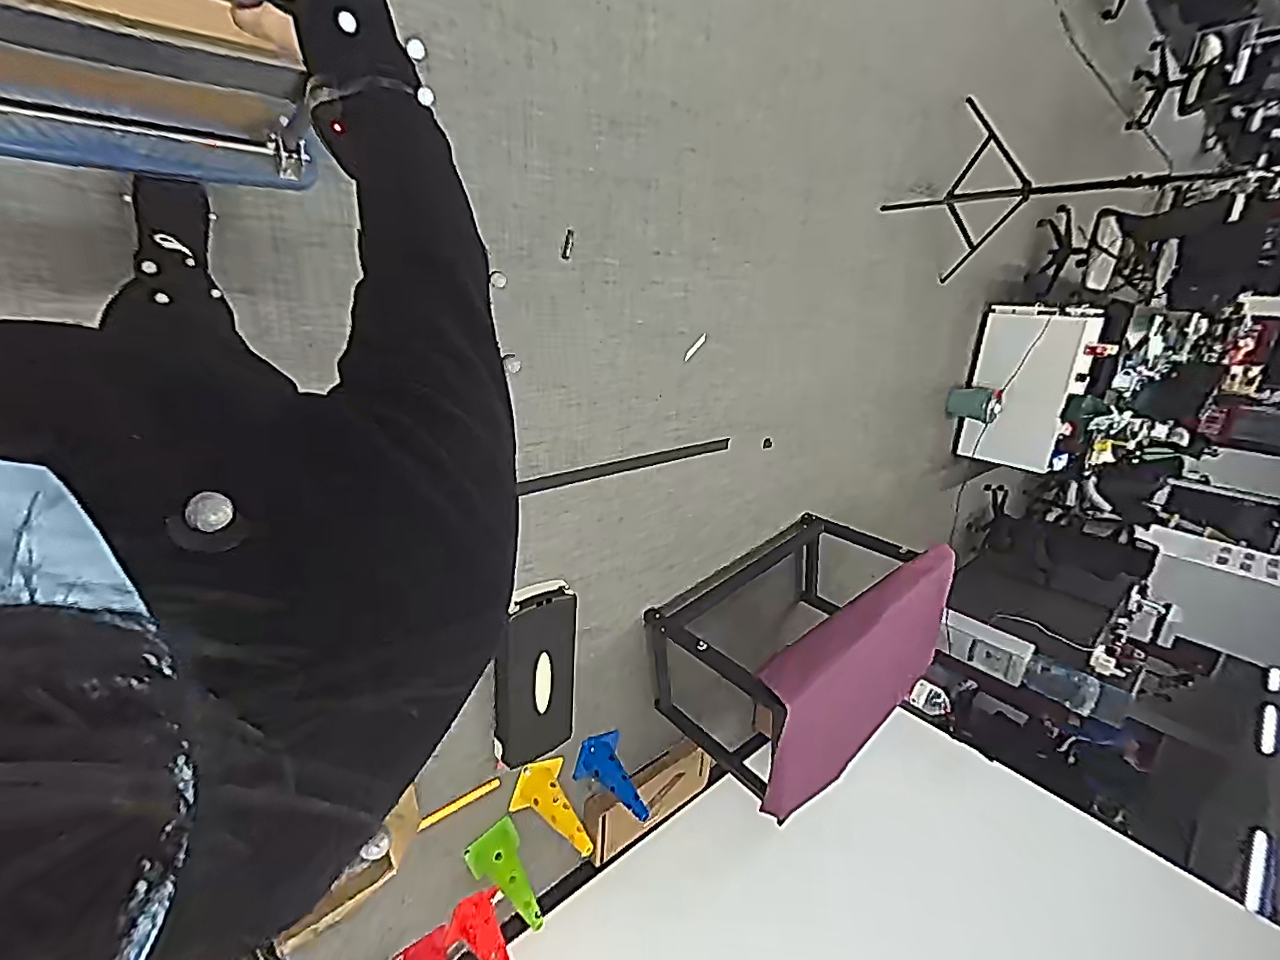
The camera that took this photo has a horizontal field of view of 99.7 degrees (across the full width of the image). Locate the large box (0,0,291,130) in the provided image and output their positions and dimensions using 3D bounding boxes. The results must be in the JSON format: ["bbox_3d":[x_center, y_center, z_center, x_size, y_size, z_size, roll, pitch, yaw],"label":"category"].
[{"bbox_3d":[-0.721,-0.681,0.674,0.408,0.320,0.320,-13,114,-39],"label":"large box"}]
